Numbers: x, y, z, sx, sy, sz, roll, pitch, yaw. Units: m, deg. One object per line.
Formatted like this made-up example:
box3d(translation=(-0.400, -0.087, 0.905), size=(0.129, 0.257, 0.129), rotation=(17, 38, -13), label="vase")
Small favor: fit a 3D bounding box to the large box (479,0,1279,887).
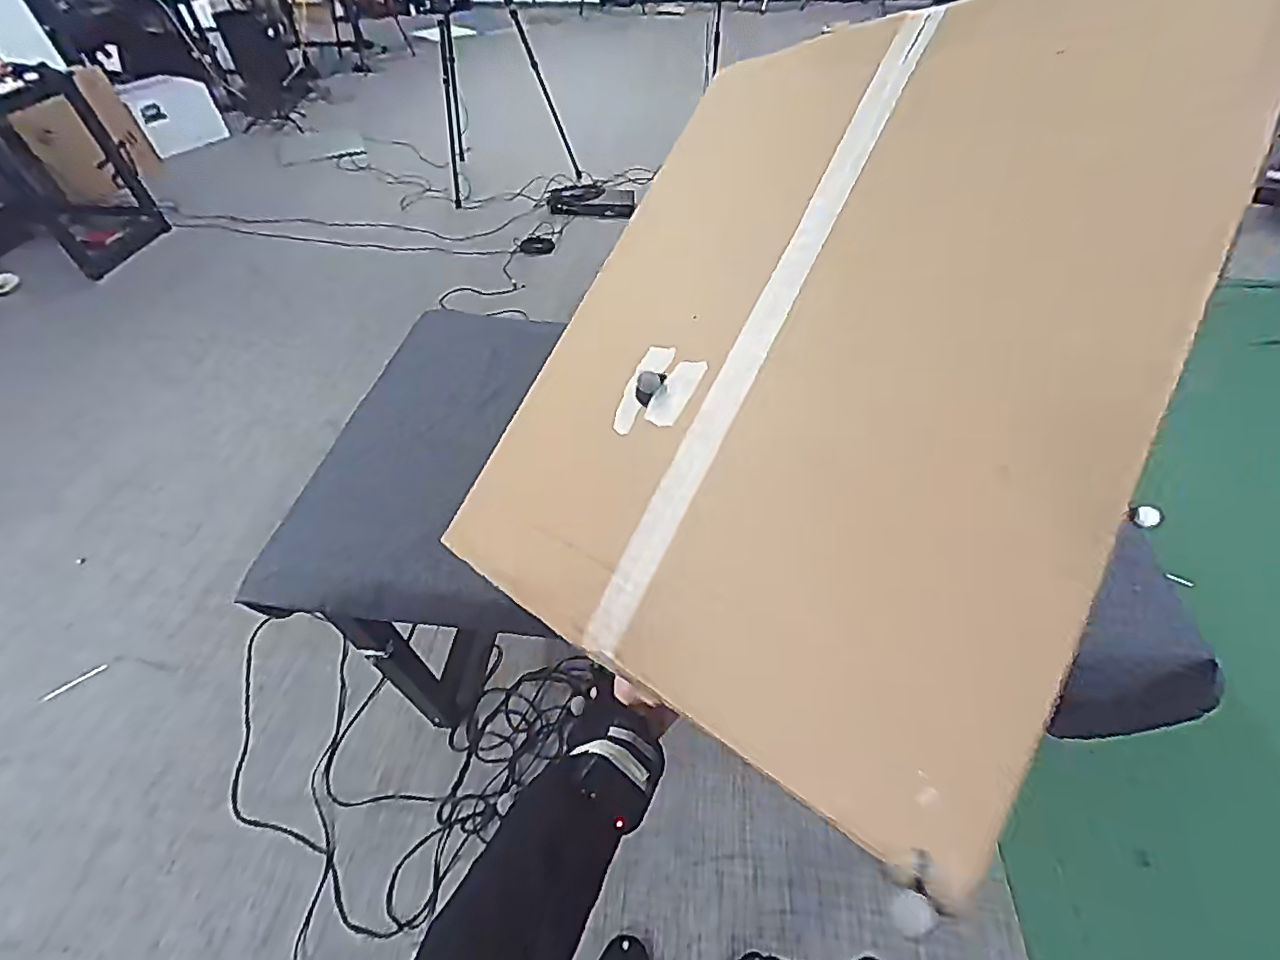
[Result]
box3d(translation=(0.164, -0.027, 0.413), size=(0.320, 0.320, 0.408), rotation=(20, 80, 39), label="large box")
